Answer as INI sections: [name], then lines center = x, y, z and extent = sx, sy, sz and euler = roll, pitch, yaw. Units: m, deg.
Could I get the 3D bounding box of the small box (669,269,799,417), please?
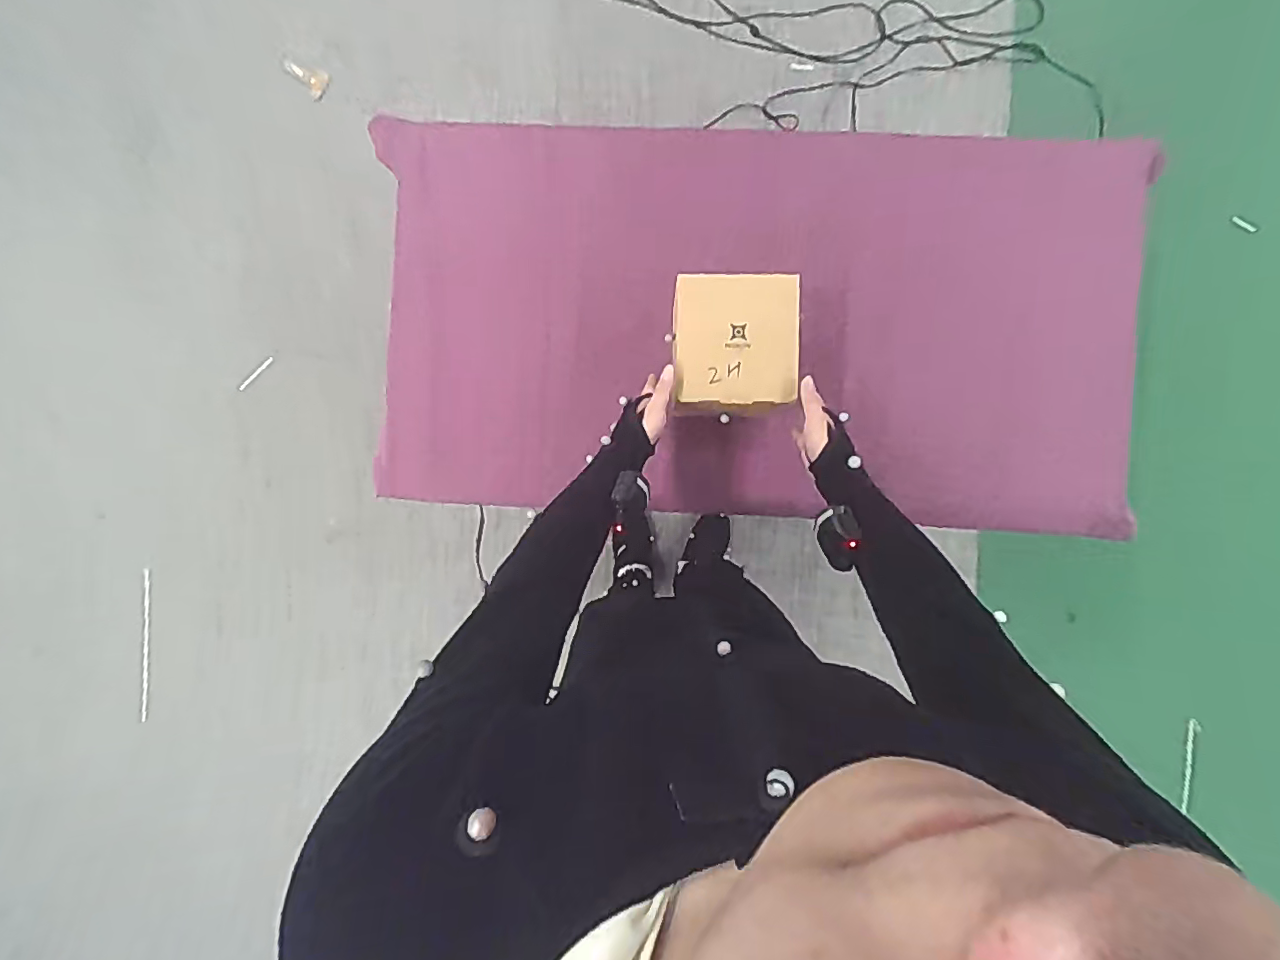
[small box]
center = 0.129, -0.193, 0.798
extent = 0.168, 0.176, 0.179
euler = 1, 91, 2
